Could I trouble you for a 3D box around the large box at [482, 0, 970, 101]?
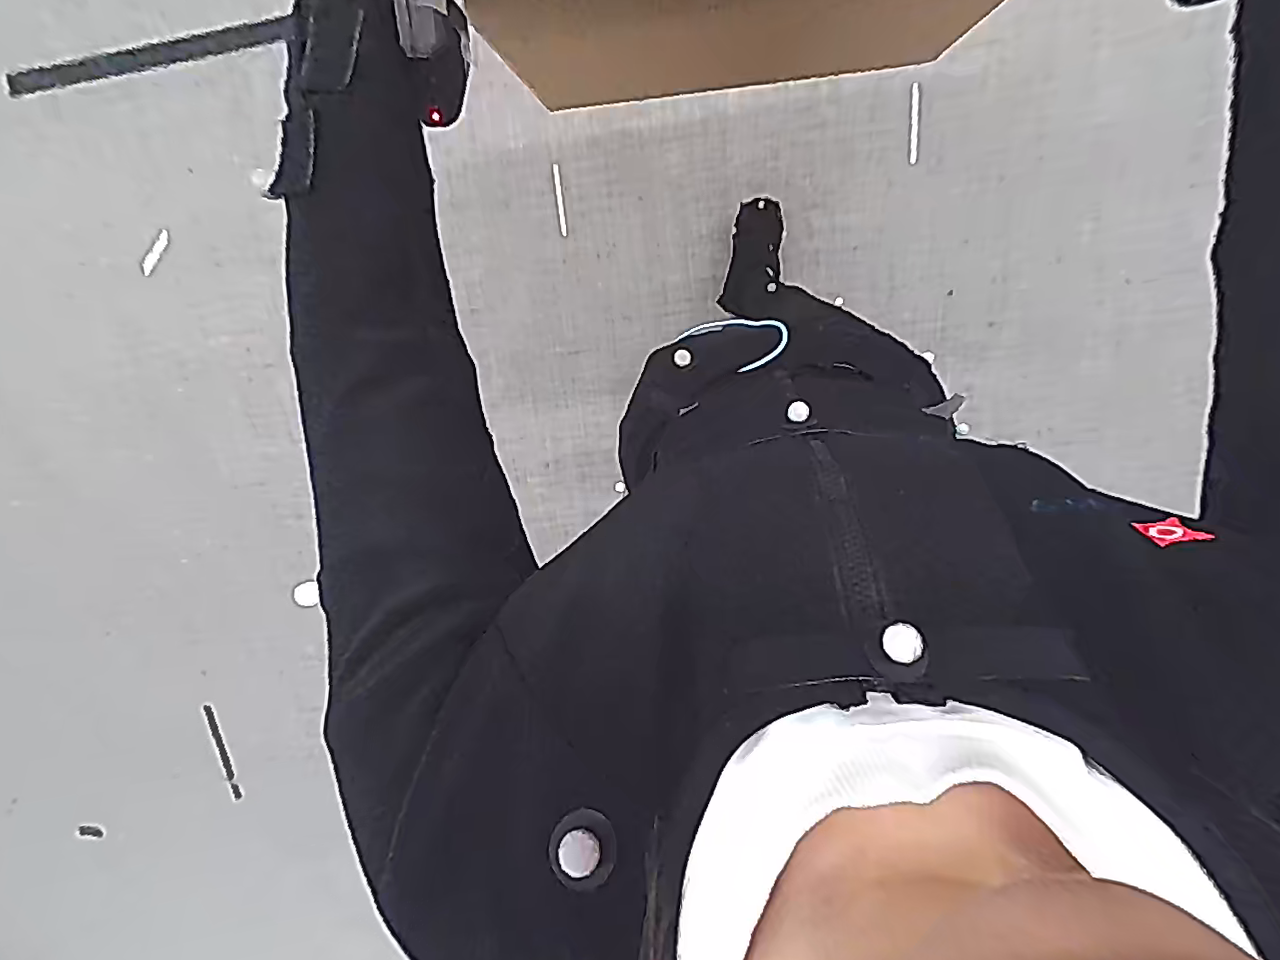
[{"bbox_3d":[0.072,-0.515,0.379,0.408,0.320,0.320,-4,112,6],"label":"large box"}]
